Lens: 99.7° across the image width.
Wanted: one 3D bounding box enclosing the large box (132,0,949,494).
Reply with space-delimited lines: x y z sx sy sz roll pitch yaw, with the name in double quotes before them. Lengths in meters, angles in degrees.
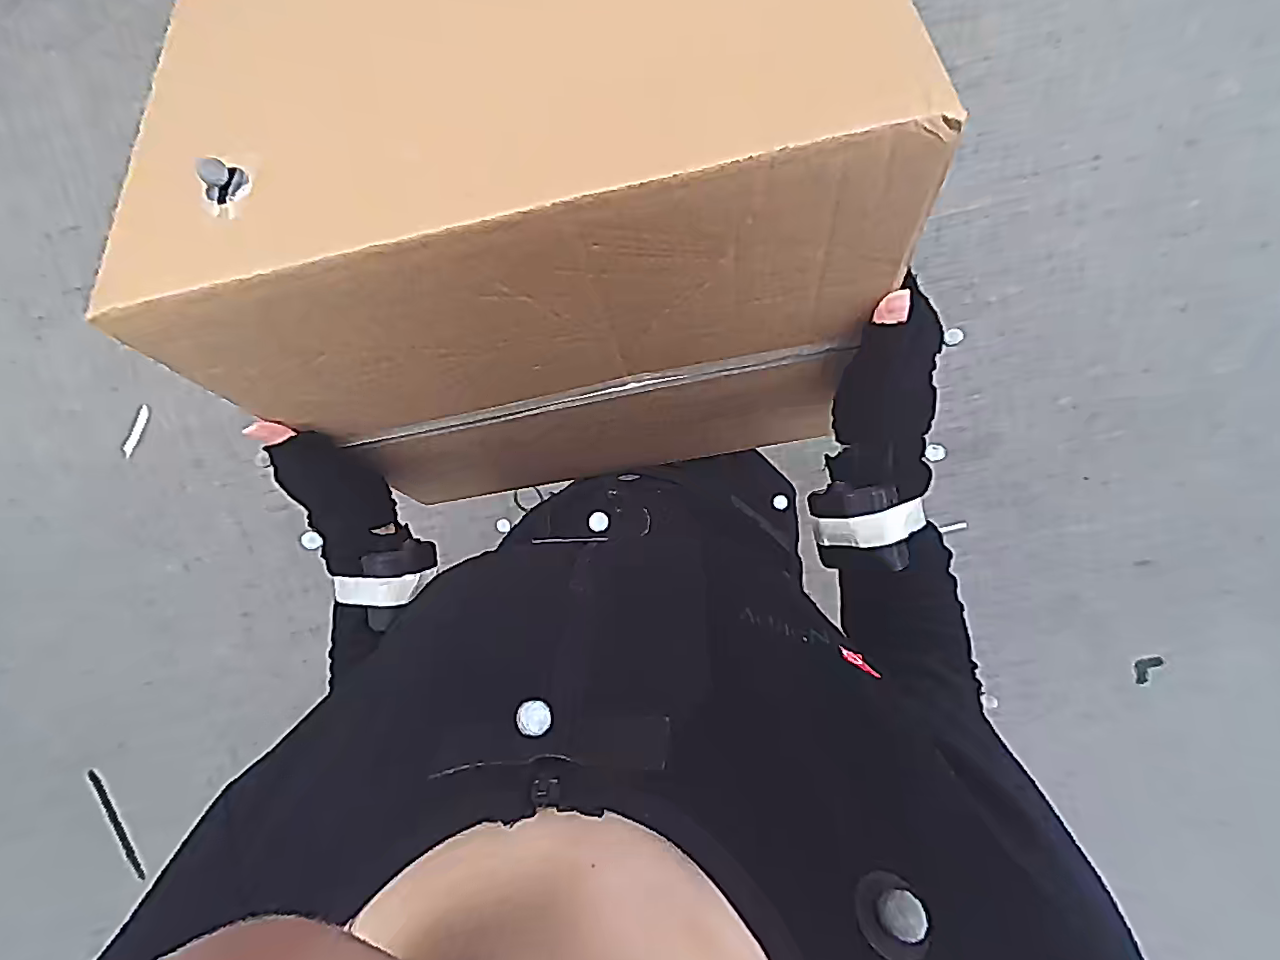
"large box" -0.059 -0.209 0.437 0.408 0.320 0.320 -10 70 6
